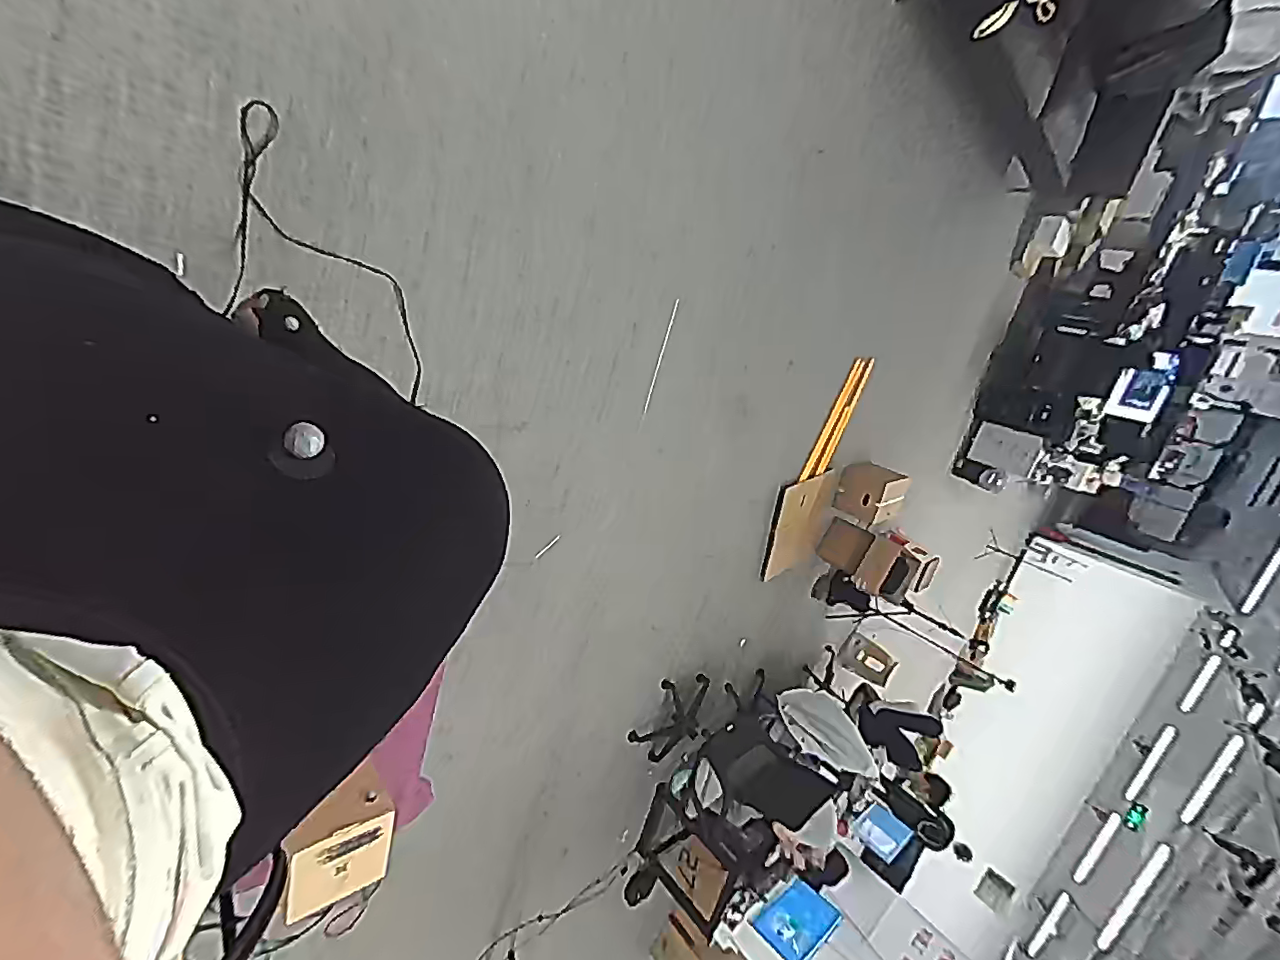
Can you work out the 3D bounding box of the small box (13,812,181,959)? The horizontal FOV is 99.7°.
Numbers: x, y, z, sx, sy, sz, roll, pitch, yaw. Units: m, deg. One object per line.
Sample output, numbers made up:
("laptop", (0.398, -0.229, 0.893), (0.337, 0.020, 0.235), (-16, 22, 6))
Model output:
("small box", (-0.808, 0.654, 0.814), (0.168, 0.176, 0.179), (2, 110, -44))
